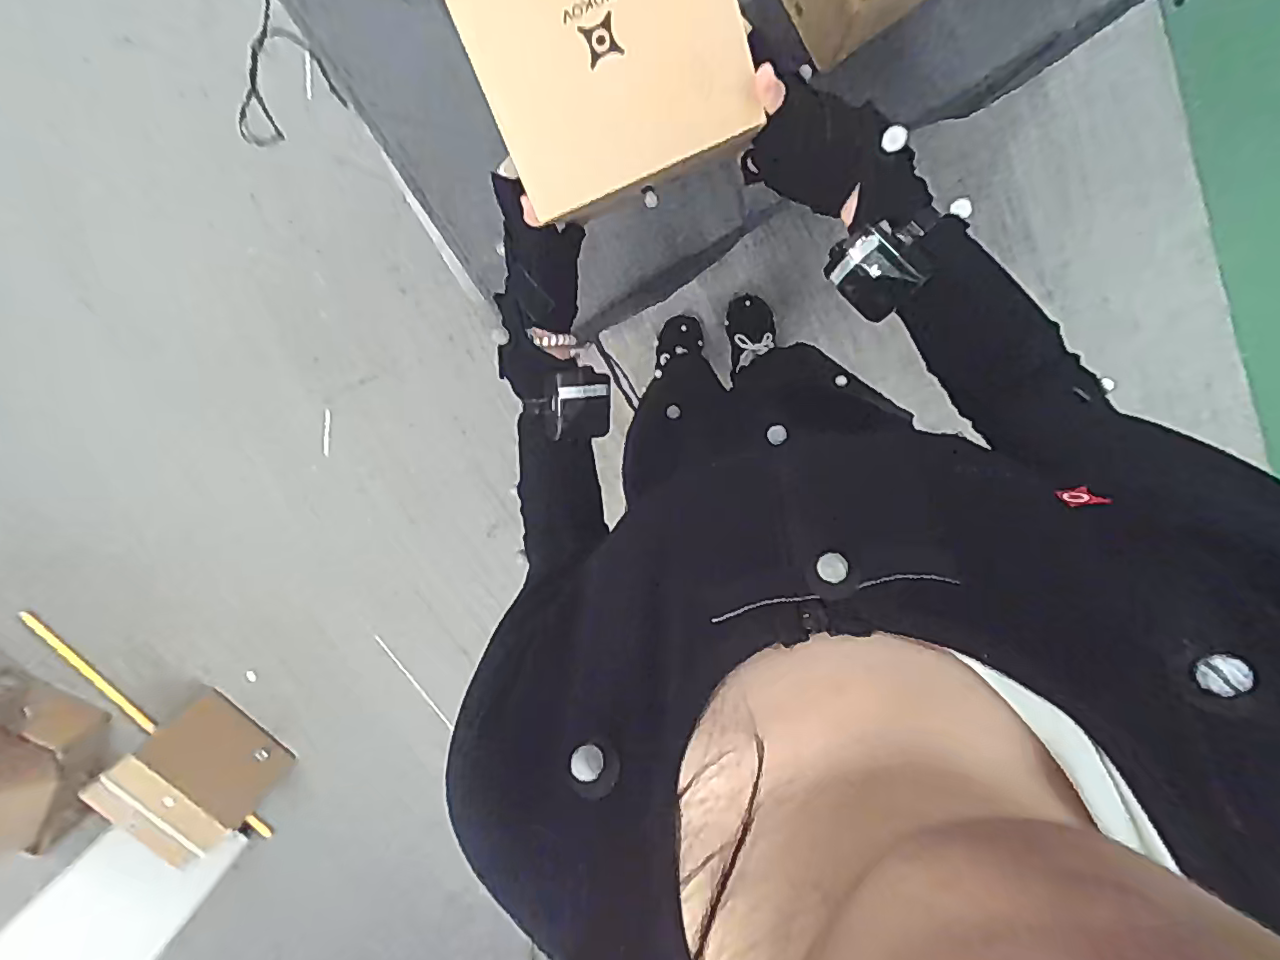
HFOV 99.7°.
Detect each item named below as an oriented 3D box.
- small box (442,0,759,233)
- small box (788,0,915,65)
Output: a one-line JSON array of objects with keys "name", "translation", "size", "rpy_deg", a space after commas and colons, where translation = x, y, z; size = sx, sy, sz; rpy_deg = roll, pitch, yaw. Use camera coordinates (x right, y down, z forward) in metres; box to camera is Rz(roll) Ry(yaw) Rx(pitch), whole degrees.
[{"name": "small box", "translation": [-0.020, -0.305, 0.401], "size": [0.168, 0.176, 0.179], "rpy_deg": [-17, 113, 13]}, {"name": "small box", "translation": [0.216, -0.532, 0.486], "size": [0.179, 0.176, 0.168], "rpy_deg": [-32, 103, 14]}]
